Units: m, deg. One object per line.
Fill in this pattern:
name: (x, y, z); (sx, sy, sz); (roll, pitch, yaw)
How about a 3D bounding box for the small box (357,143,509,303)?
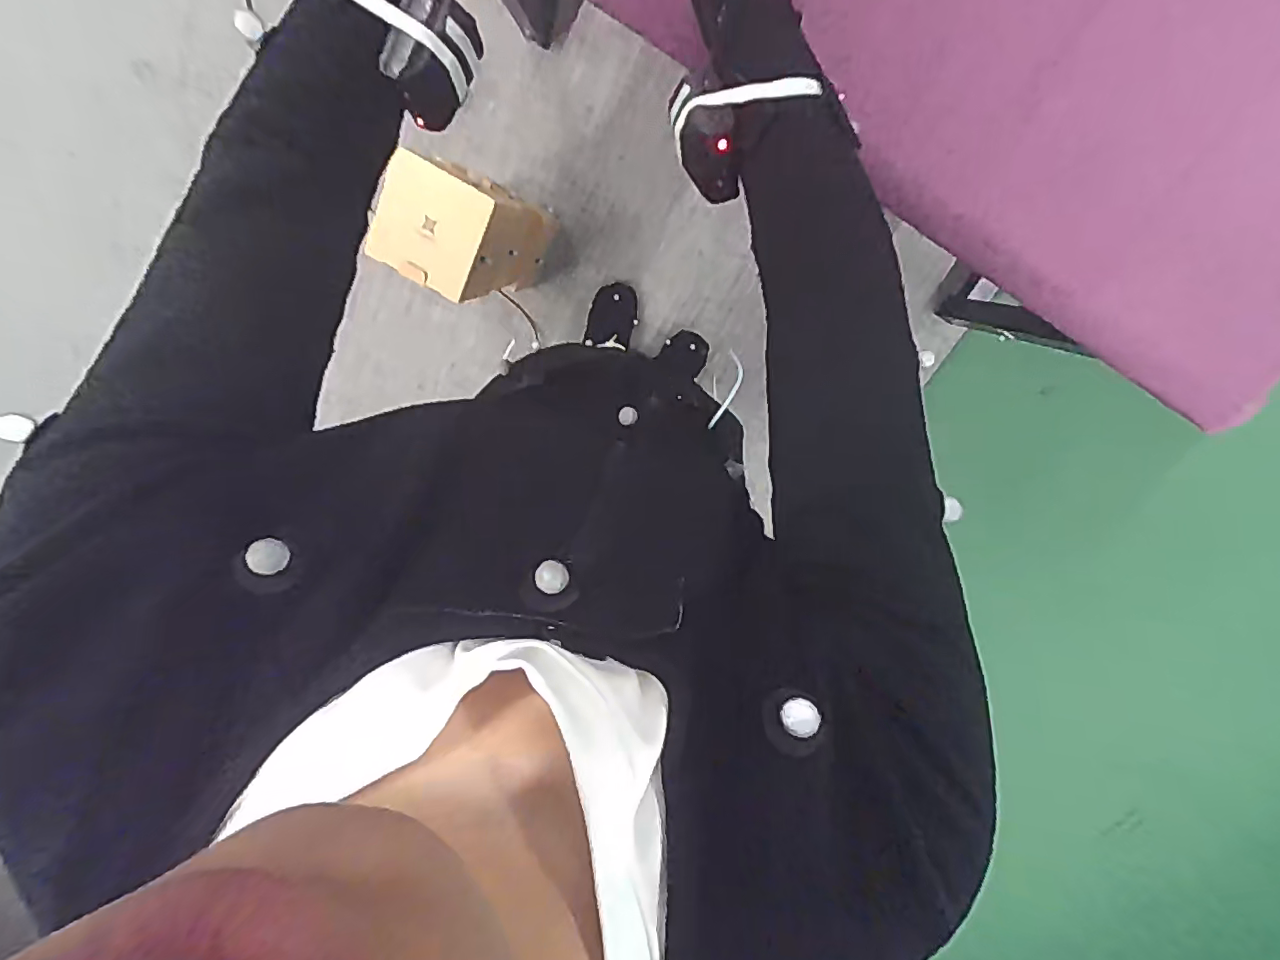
small box: (-0.341, -0.432, 0.923); (0.168, 0.176, 0.179); (28, 113, -10)
